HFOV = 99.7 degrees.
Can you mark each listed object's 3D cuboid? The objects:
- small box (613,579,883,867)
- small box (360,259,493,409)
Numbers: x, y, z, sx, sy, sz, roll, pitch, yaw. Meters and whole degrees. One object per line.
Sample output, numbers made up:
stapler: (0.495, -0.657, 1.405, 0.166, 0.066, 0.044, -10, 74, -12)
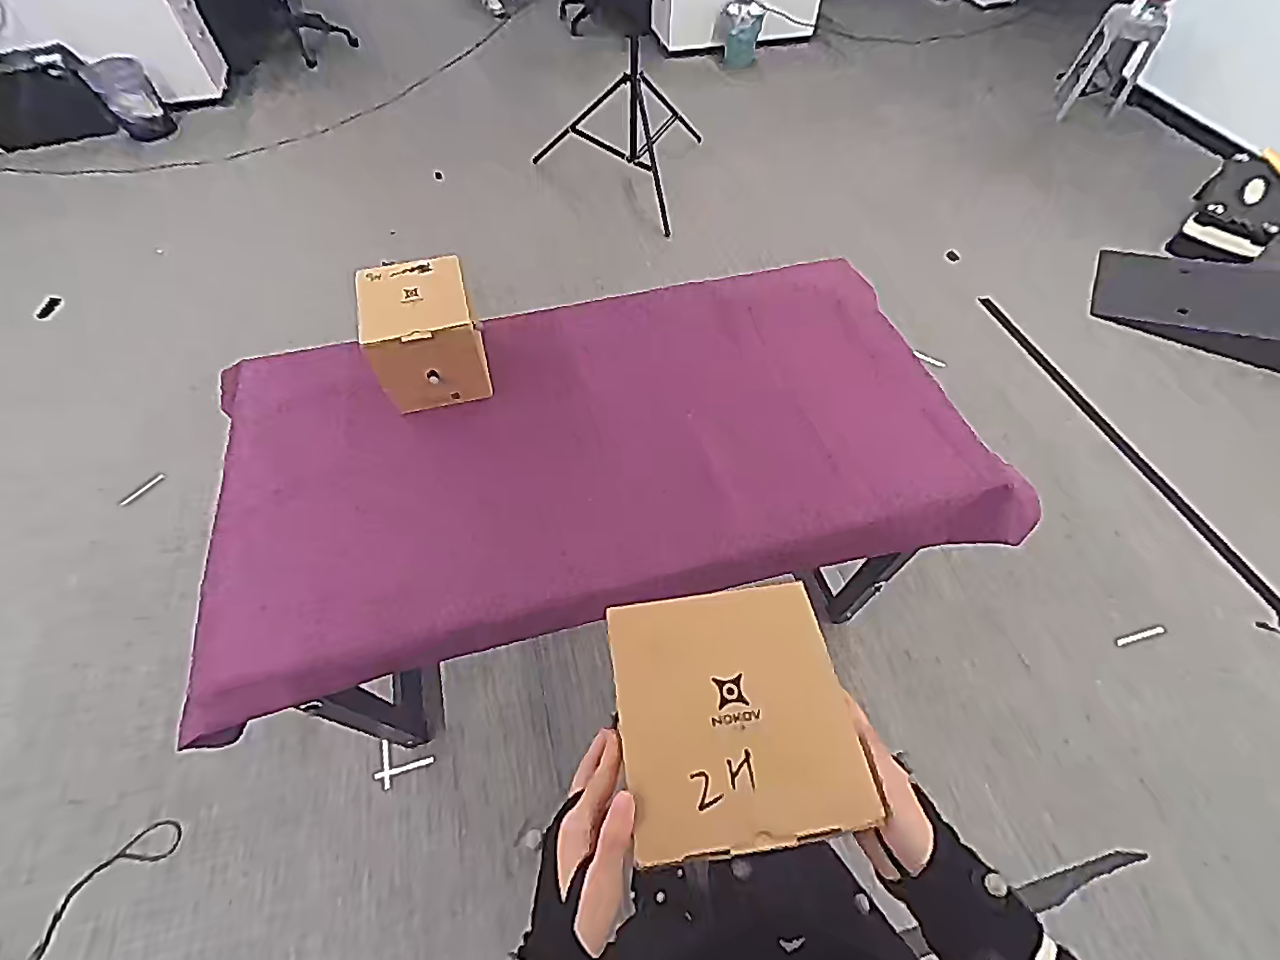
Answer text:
small box: (0.068, 0.208, 0.458, 0.168, 0.176, 0.179, -7, 53, -4)
small box: (-0.357, -0.240, 0.922, 0.168, 0.176, 0.179, -13, 61, -9)
